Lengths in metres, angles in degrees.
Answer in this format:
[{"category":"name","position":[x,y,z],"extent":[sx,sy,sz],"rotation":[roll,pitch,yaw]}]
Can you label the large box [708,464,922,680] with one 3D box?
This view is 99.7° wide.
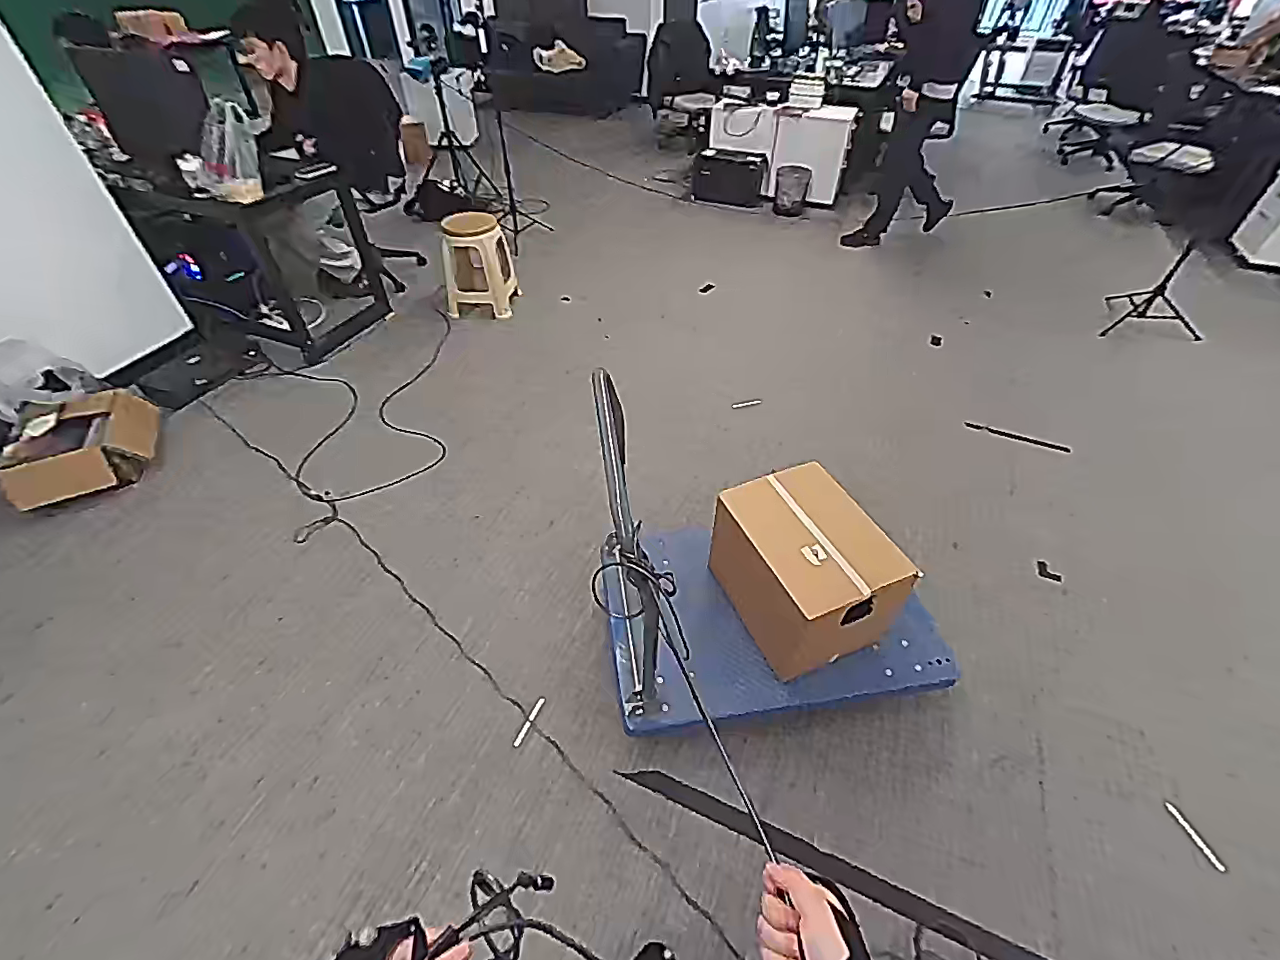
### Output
[{"category":"large box","position":[0.417,0.230,1.407],"extent":[0.320,0.320,0.408],"rotation":[-18,49,-15]}]
